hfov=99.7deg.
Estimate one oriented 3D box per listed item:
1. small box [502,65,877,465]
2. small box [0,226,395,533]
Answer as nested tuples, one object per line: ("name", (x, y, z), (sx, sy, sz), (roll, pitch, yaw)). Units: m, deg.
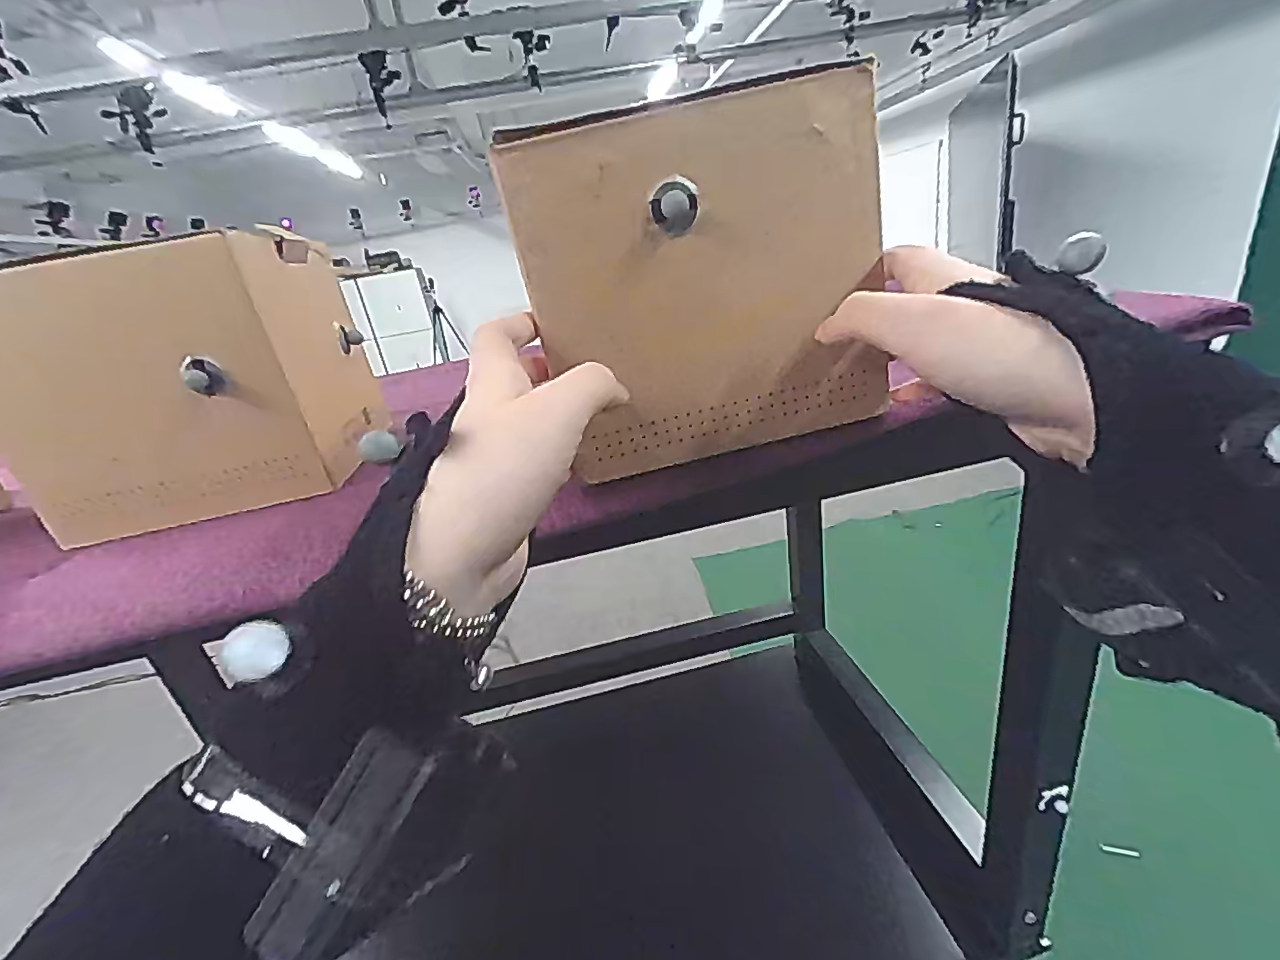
("small box", (0.031, -0.121, 0.346), (0.179, 0.176, 0.168), (-12, 22, -1))
("small box", (-0.311, -0.081, 0.407), (0.179, 0.176, 0.168), (-13, 22, -6))
